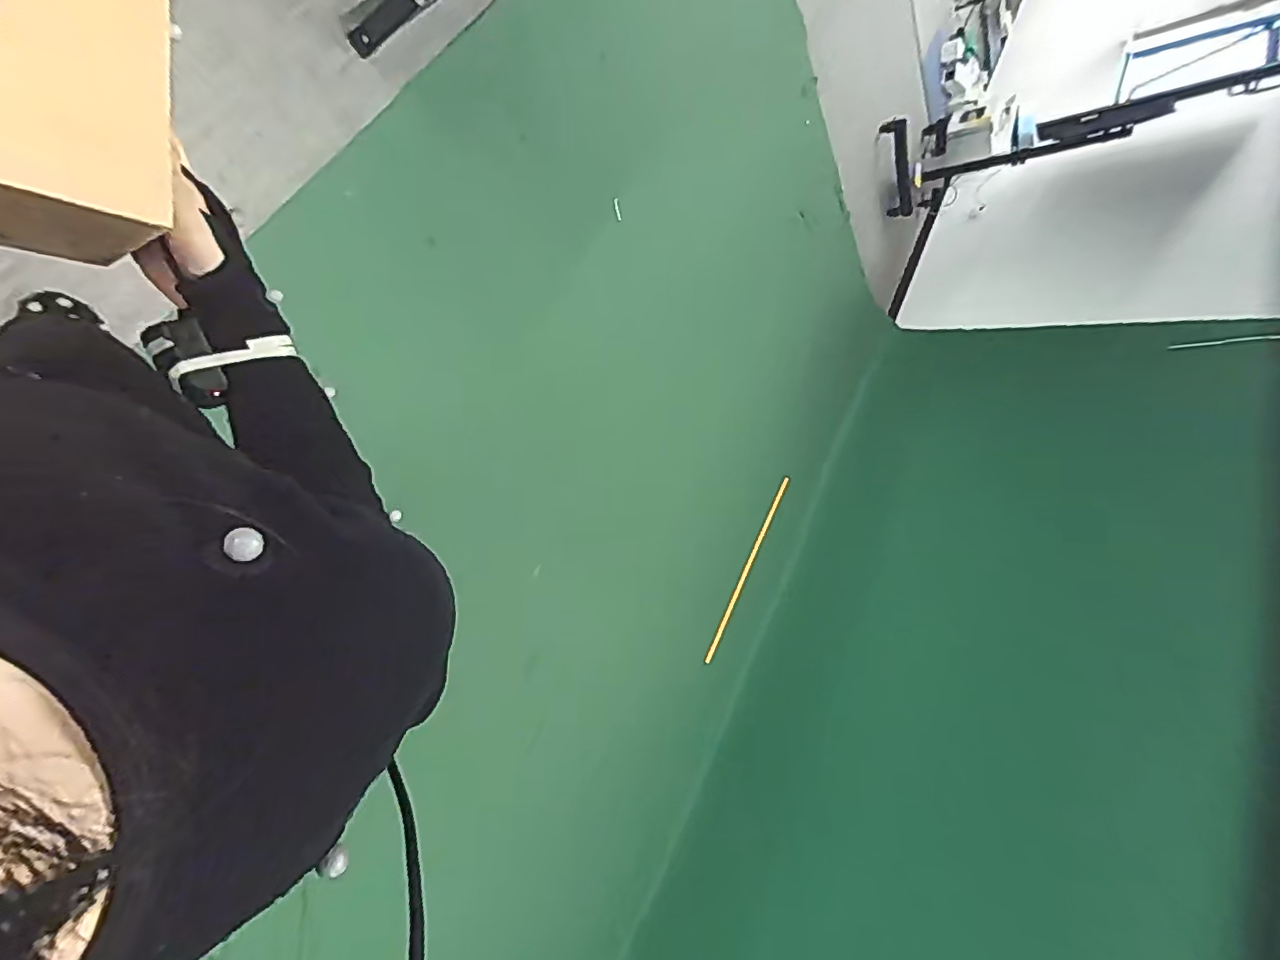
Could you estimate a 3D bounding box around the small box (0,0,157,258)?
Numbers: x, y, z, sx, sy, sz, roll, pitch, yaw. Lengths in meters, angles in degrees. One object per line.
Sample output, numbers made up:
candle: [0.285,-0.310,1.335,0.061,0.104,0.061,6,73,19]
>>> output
small box: [-0.406,-0.245,0.307,0.168,0.176,0.179,-2,96,-55]
